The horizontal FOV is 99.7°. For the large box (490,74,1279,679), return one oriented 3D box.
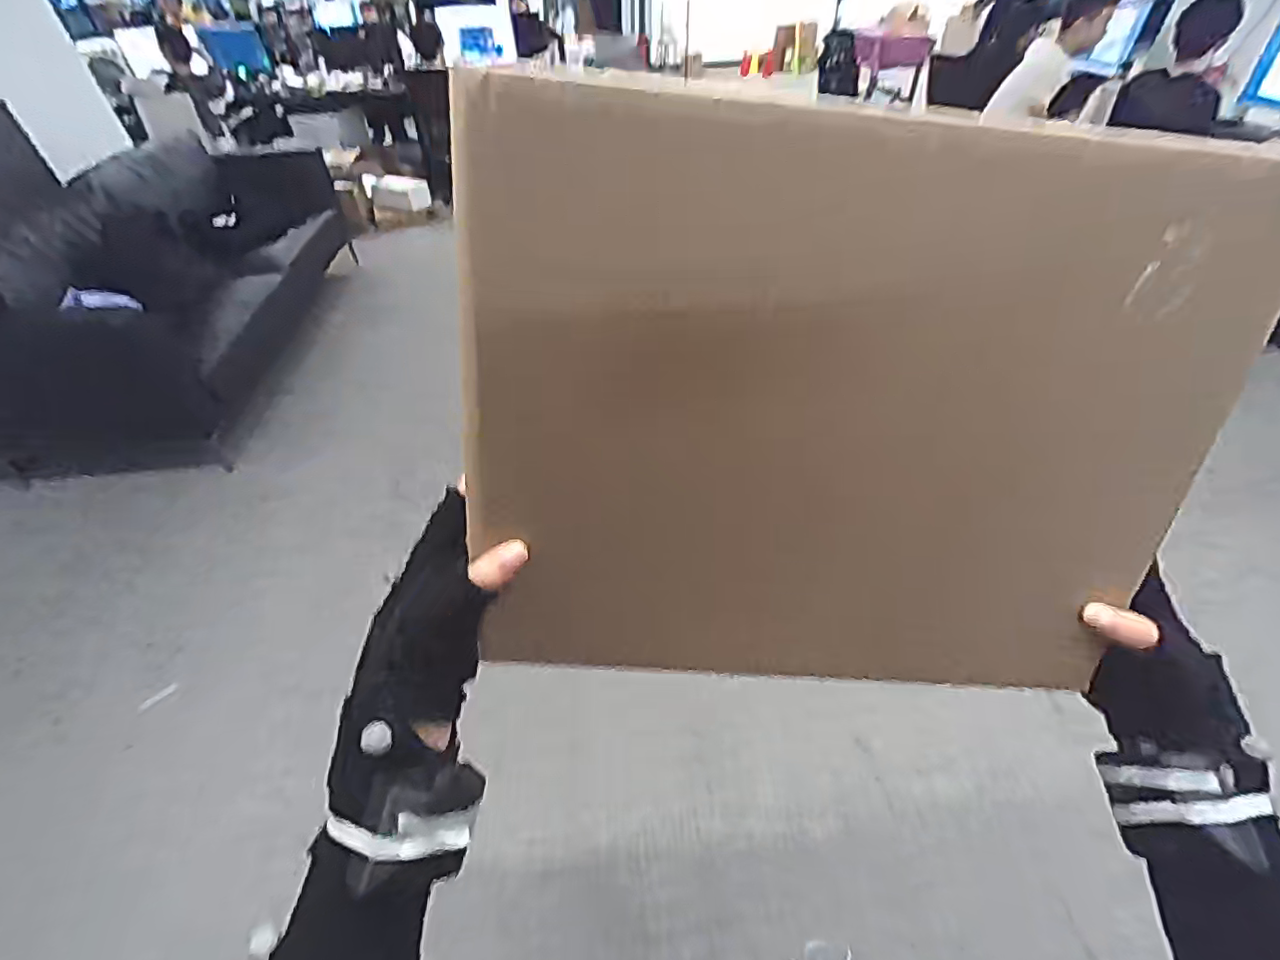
[{"bbox_3d":[0.109,-0.069,0.434,0.408,0.320,0.320,5,23,-5],"label":"large box"}]
